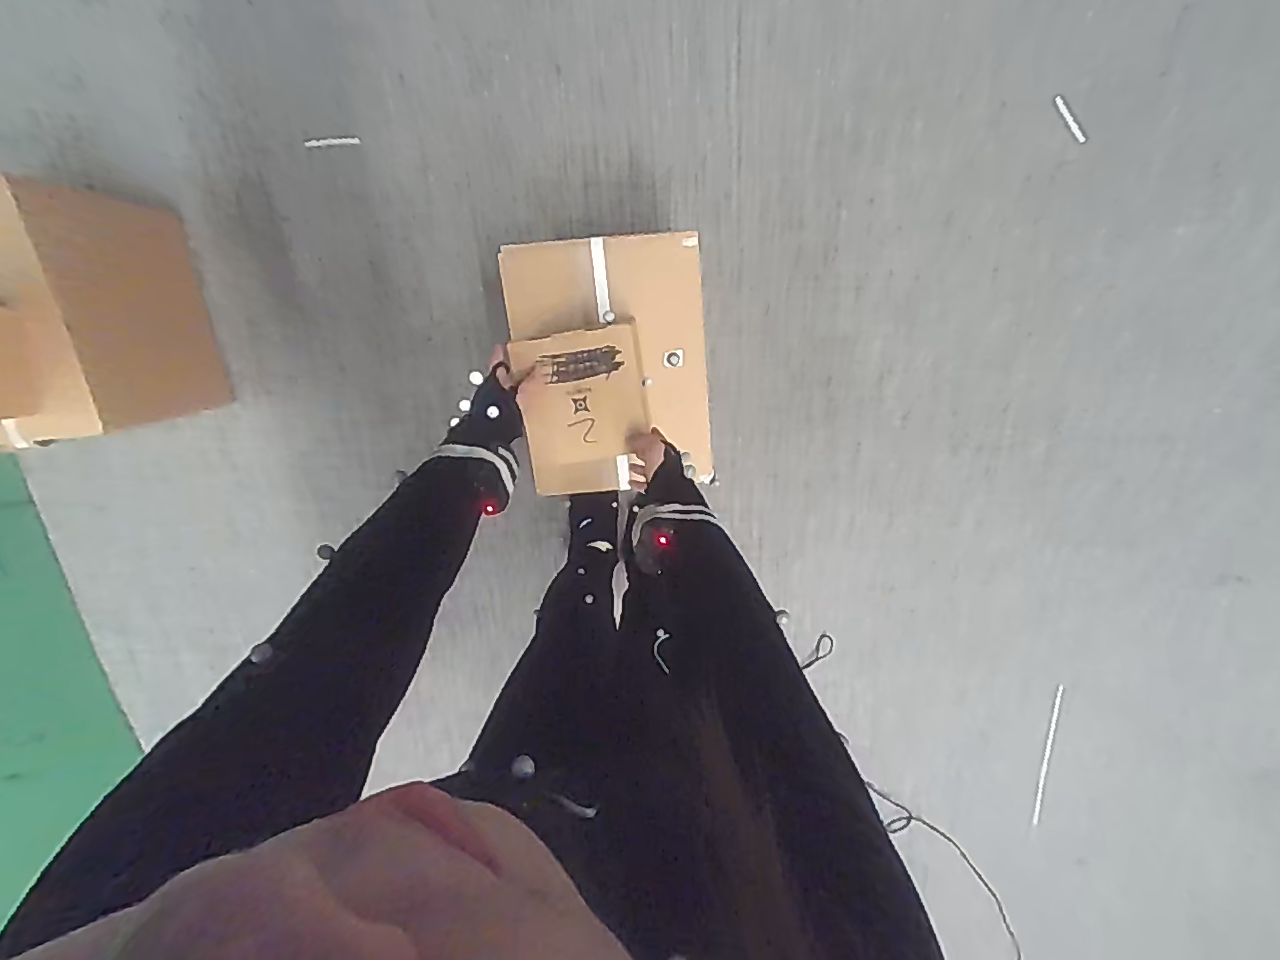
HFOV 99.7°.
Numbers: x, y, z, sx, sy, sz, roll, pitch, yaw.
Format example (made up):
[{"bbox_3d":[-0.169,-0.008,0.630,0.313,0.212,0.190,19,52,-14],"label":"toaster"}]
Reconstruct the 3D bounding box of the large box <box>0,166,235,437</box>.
[{"bbox_3d":[-1.064,-0.309,1.006,0.320,0.320,0.408,-4,107,2],"label":"large box"}]

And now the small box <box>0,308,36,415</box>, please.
[{"bbox_3d":[-1.069,-0.183,0.792,0.168,0.176,0.179,6,109,-1],"label":"small box"}]
